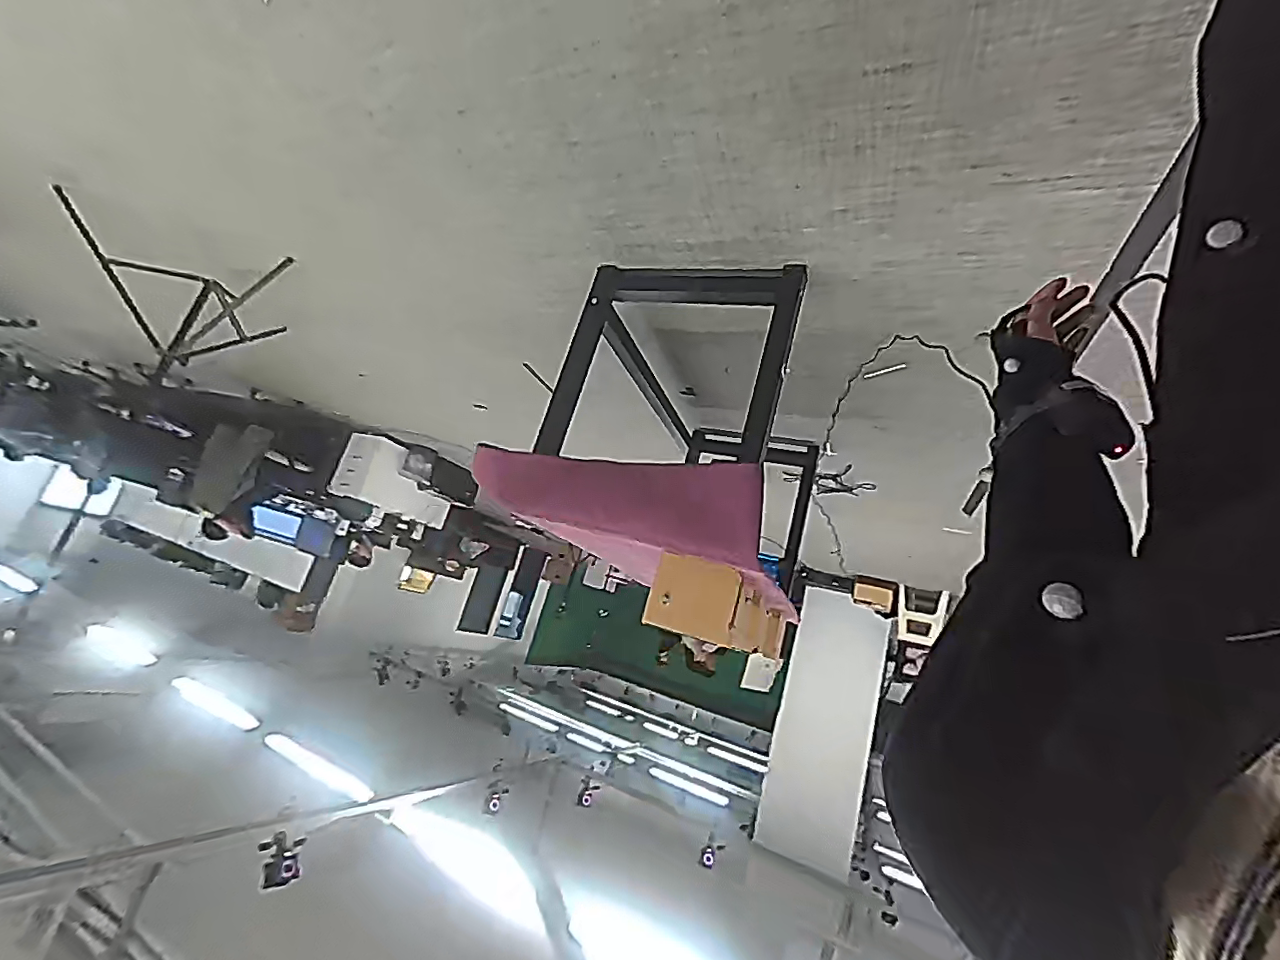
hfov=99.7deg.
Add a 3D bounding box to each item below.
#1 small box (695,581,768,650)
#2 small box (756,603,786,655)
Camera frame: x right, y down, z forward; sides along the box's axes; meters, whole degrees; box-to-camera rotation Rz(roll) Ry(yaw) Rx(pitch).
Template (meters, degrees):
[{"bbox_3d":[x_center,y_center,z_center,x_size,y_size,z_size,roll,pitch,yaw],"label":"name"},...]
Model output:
[{"bbox_3d":[0.294,0.422,1.694,0.179,0.176,0.168,10,165,27],"label":"small box"},{"bbox_3d":[0.427,0.528,1.972,0.168,0.176,0.179,9,164,26],"label":"small box"}]
